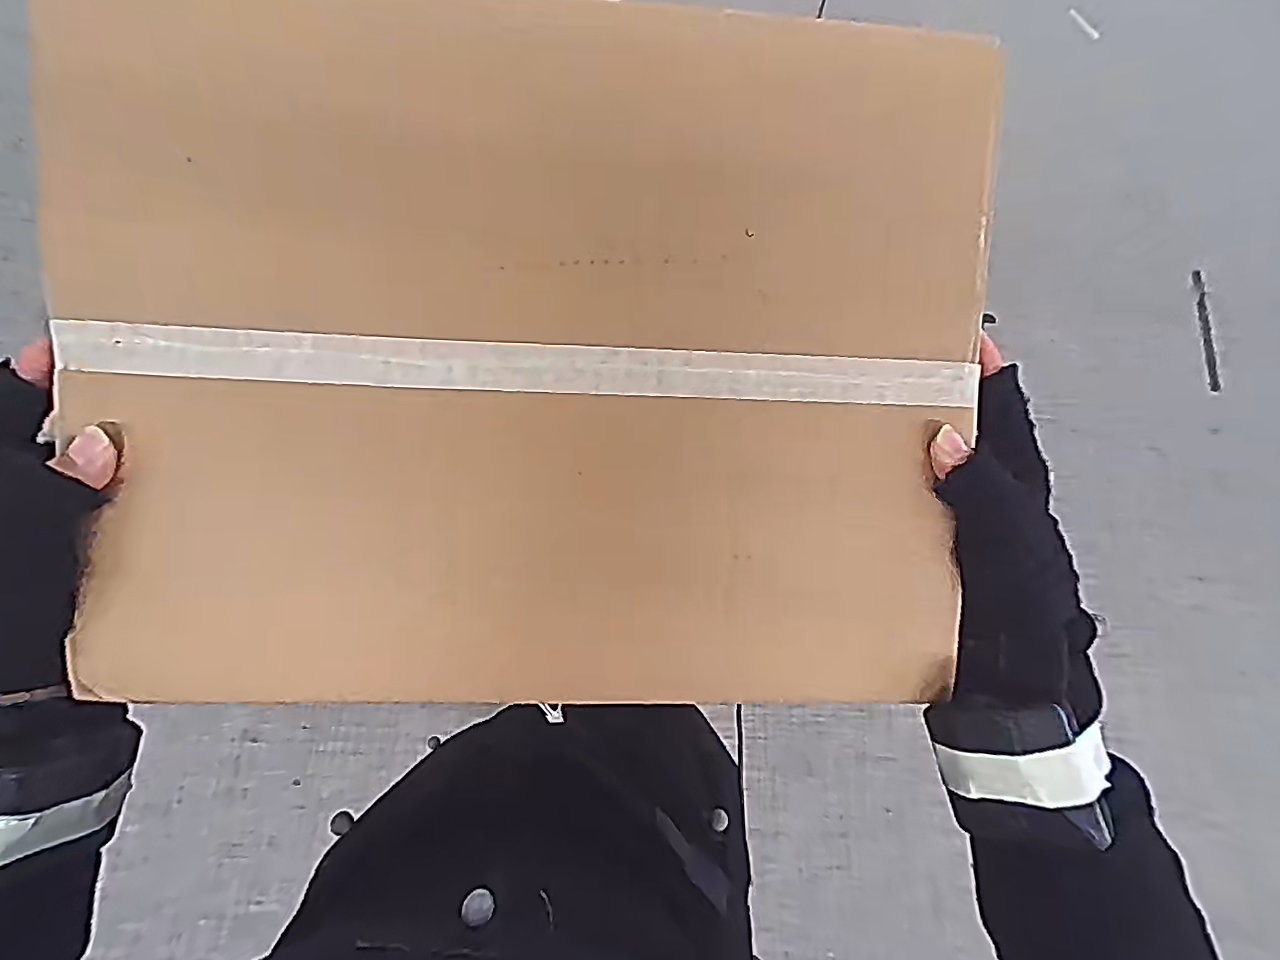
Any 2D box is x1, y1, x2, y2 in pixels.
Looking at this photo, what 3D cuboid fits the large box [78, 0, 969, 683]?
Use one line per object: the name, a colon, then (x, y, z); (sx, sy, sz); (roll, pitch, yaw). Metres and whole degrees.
large box: (-0.055, -0.066, 0.403); (0.408, 0.320, 0.320); (2, 94, -5)
